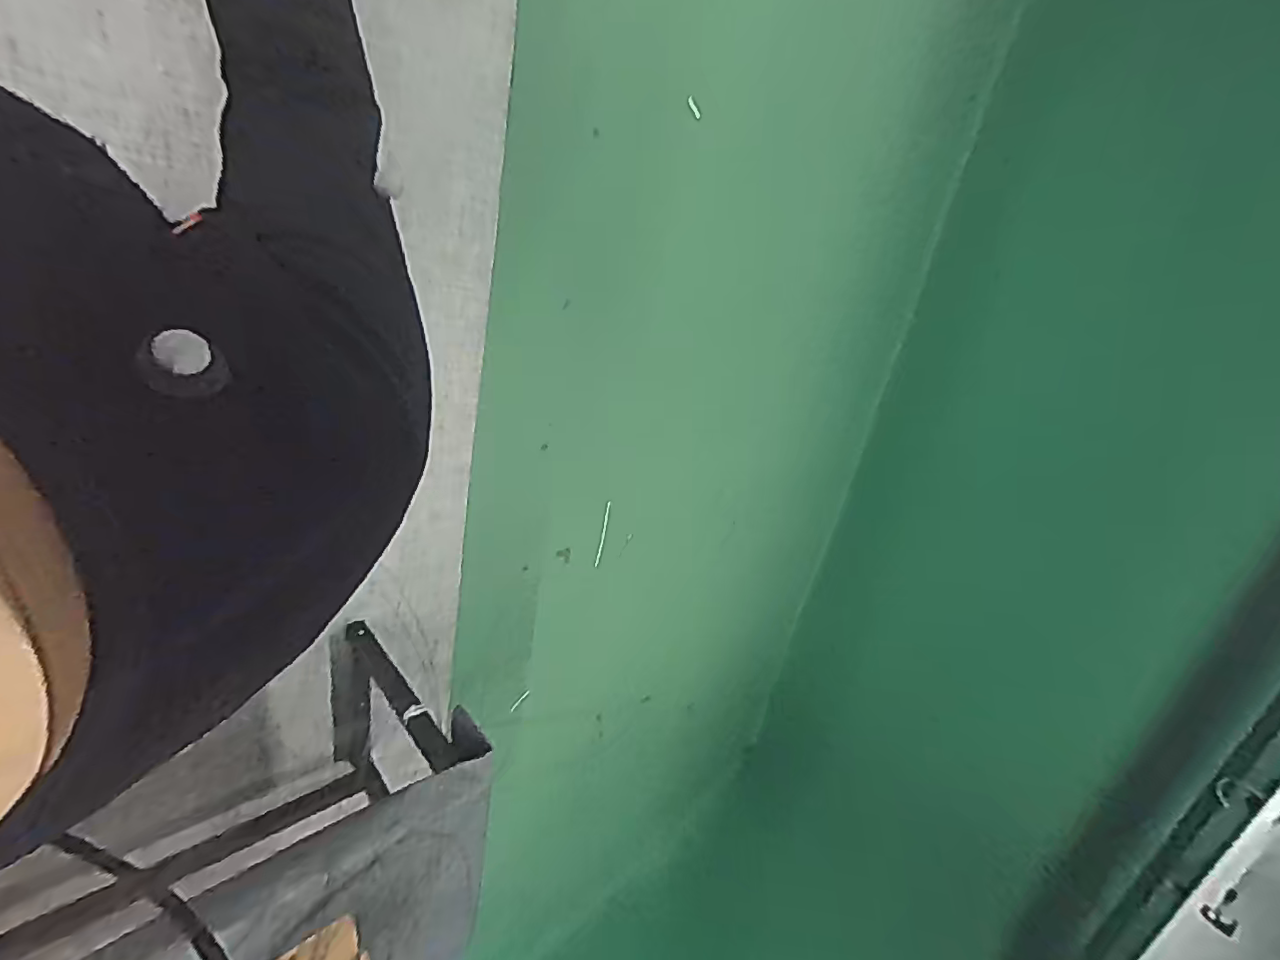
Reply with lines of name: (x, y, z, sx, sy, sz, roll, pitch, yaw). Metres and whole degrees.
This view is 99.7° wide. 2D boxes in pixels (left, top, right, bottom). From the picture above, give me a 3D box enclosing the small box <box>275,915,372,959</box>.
small box: (-0.592, 0.982, 1.013, 0.168, 0.176, 0.179, -16, 123, -43)
